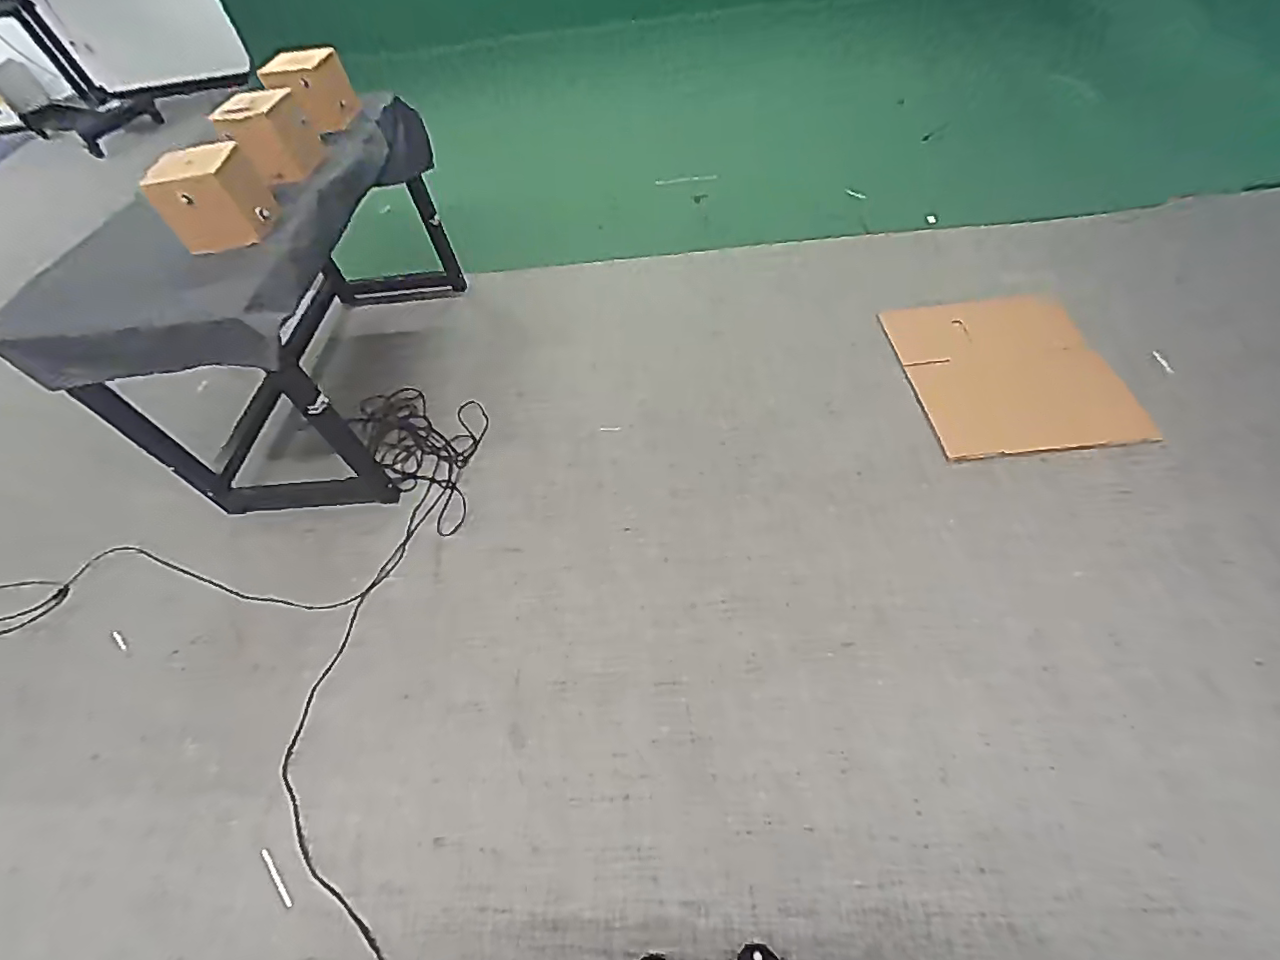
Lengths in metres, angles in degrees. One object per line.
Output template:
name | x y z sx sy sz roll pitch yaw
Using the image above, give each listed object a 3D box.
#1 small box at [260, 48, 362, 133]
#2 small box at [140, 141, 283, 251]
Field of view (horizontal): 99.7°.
small box | -1.002 -1.192 1.664 0.179 0.176 0.168 0 54 7
small box | -1.000 -0.667 1.280 0.179 0.176 0.168 -9 54 0
